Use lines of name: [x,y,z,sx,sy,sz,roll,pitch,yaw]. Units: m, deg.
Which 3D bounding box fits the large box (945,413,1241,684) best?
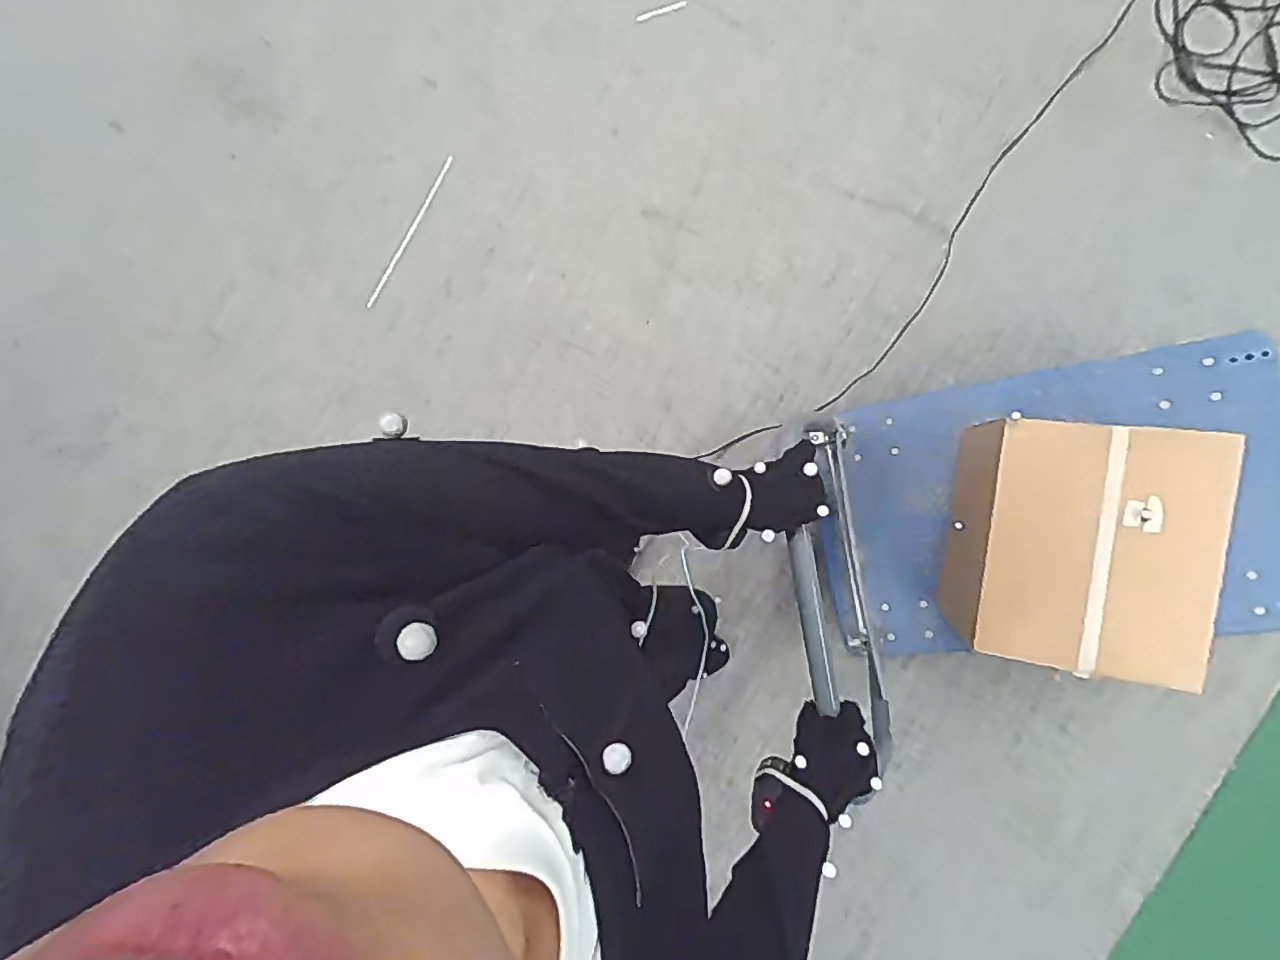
large box: [0.787,0.100,1.006,0.320,0.320,0.408,8,94,19]
